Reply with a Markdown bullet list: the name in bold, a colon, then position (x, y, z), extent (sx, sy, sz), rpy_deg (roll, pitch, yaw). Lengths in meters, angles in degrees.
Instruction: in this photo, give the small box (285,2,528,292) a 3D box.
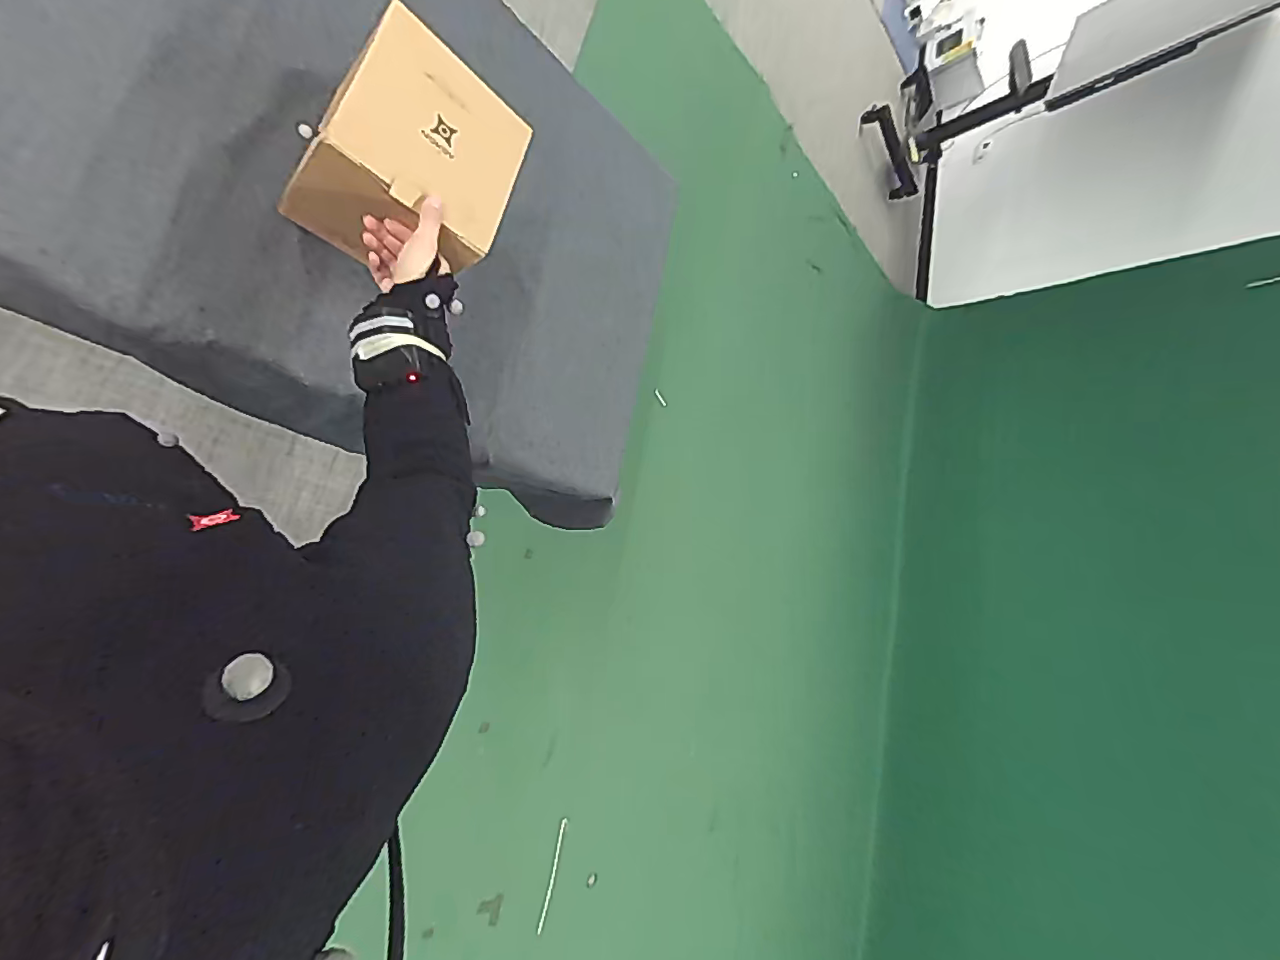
- **small box**: position (-0.255, -0.335, 0.588), extent (0.168, 0.176, 0.179), rpy_deg (28, 68, -42)
